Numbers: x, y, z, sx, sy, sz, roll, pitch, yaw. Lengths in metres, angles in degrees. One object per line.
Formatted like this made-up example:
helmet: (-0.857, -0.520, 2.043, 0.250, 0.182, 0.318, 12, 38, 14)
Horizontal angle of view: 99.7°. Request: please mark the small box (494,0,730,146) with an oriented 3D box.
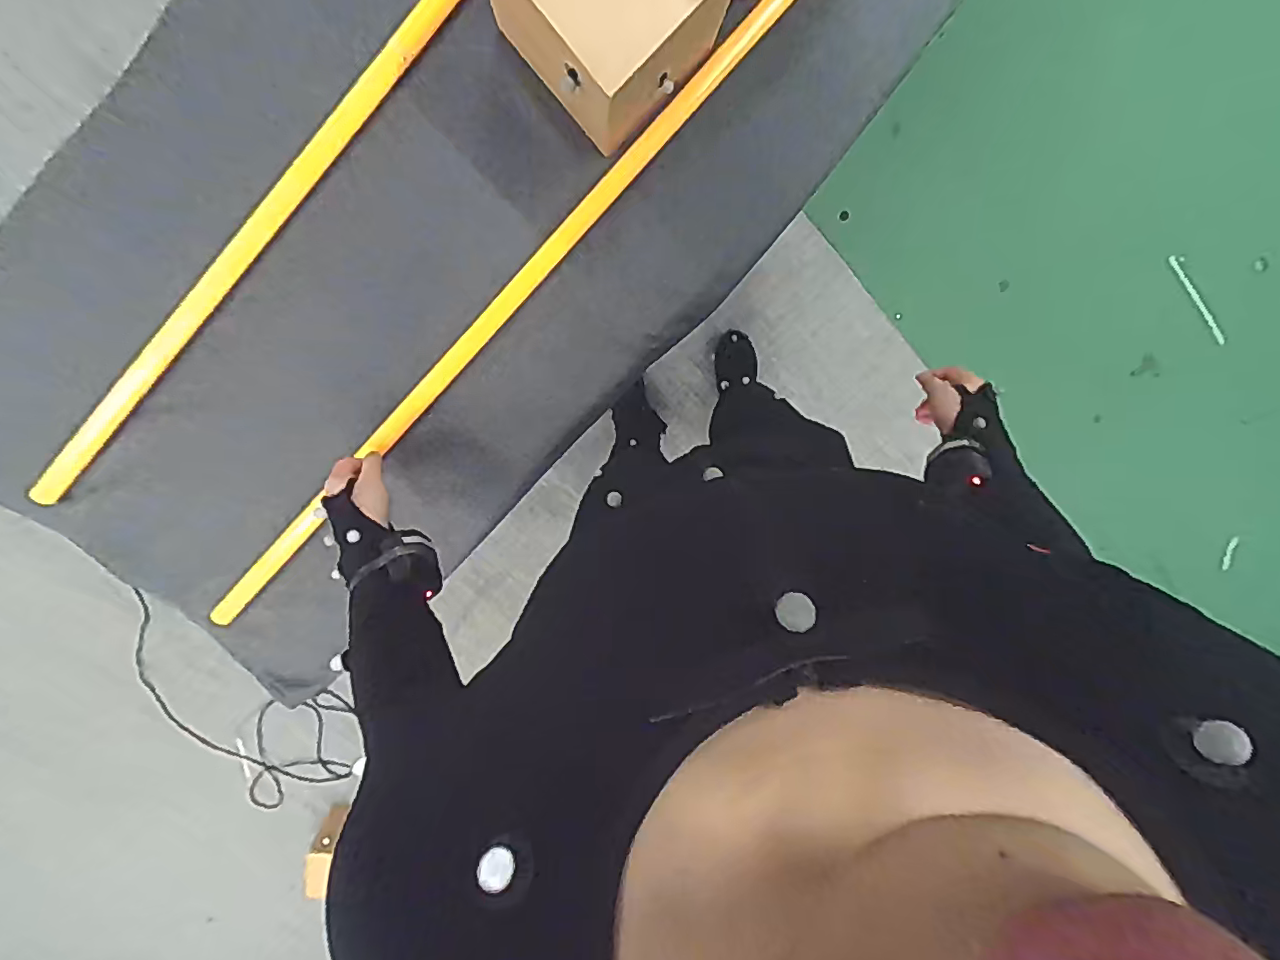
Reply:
small box: (-0.028, -0.464, 0.526, 0.168, 0.176, 0.179, -42, 104, 6)
